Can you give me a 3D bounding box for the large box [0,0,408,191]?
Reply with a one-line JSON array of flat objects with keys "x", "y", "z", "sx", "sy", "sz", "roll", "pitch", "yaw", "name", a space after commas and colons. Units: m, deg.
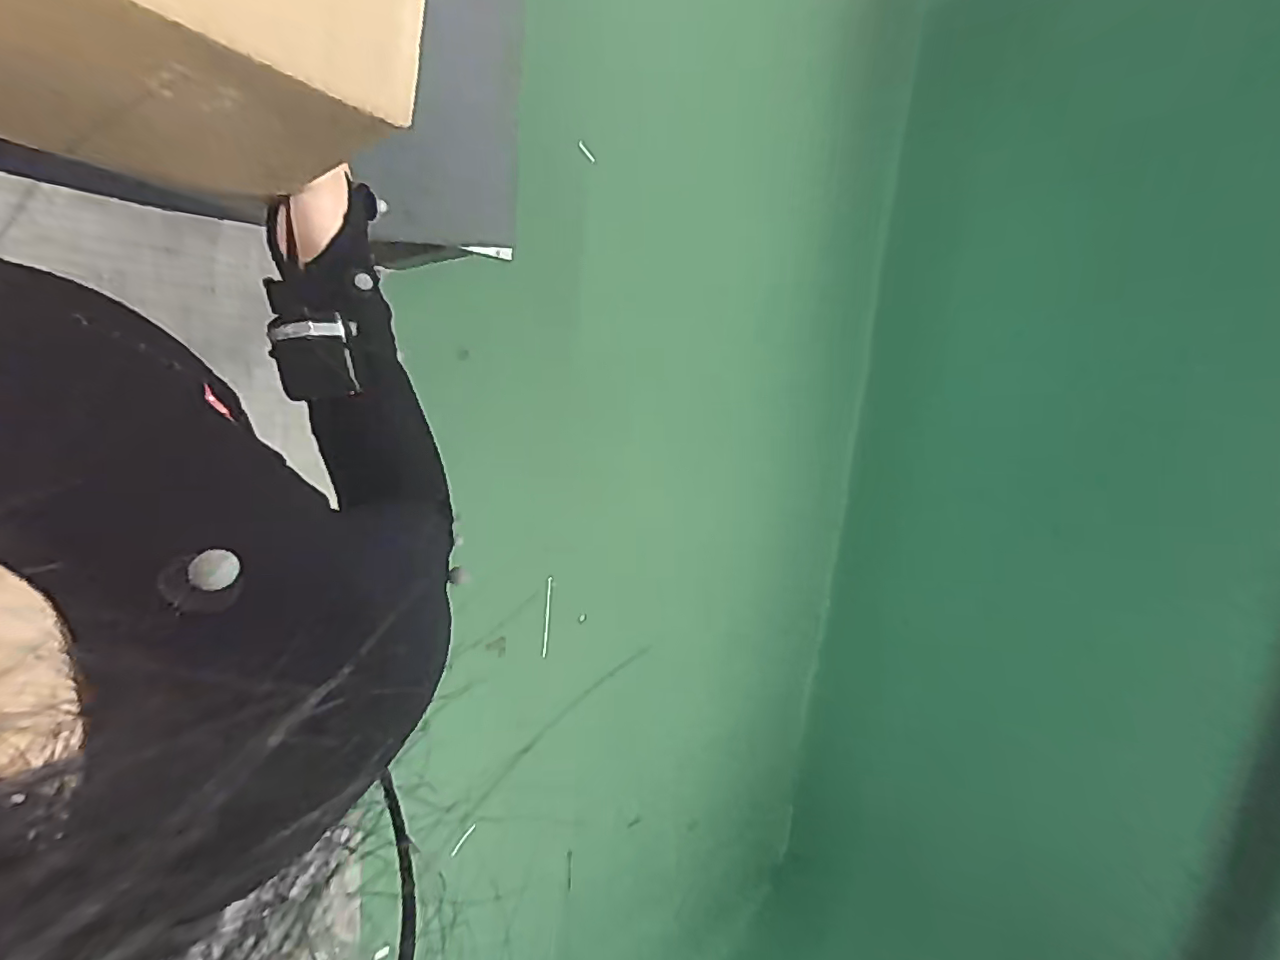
[{"x": -0.339, "y": -0.357, "z": 0.197, "sx": 0.408, "sy": 0.320, "sz": 0.320, "roll": 0, "pitch": 104, "yaw": -47, "name": "large box"}]
